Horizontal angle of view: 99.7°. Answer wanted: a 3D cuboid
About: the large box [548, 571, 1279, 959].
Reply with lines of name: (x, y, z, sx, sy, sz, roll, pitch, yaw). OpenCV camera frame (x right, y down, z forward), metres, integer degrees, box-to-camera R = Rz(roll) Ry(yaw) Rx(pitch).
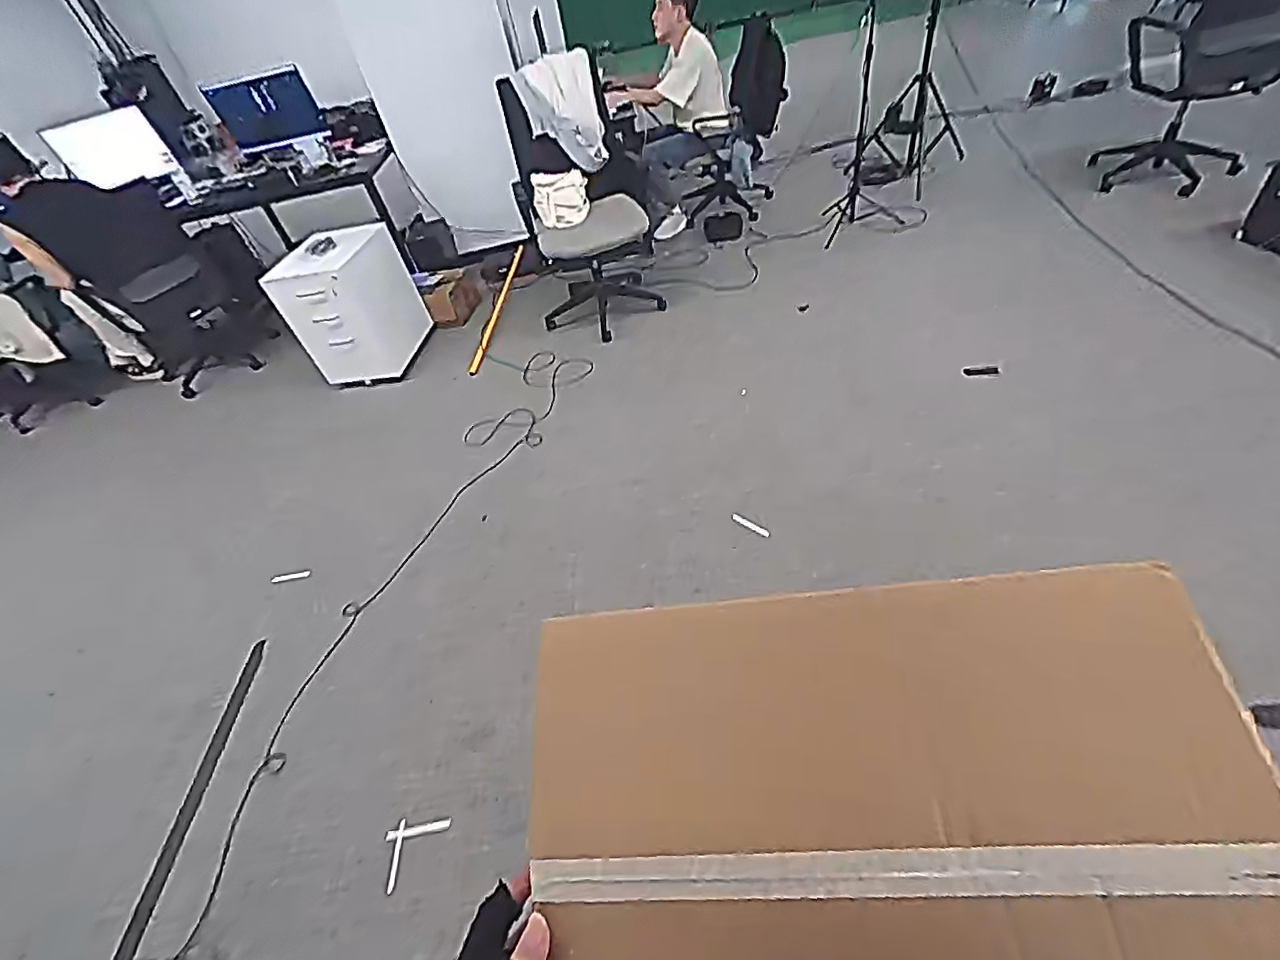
large box: (0.166, 0.287, 0.437, 0.408, 0.320, 0.320, -8, 64, 10)
